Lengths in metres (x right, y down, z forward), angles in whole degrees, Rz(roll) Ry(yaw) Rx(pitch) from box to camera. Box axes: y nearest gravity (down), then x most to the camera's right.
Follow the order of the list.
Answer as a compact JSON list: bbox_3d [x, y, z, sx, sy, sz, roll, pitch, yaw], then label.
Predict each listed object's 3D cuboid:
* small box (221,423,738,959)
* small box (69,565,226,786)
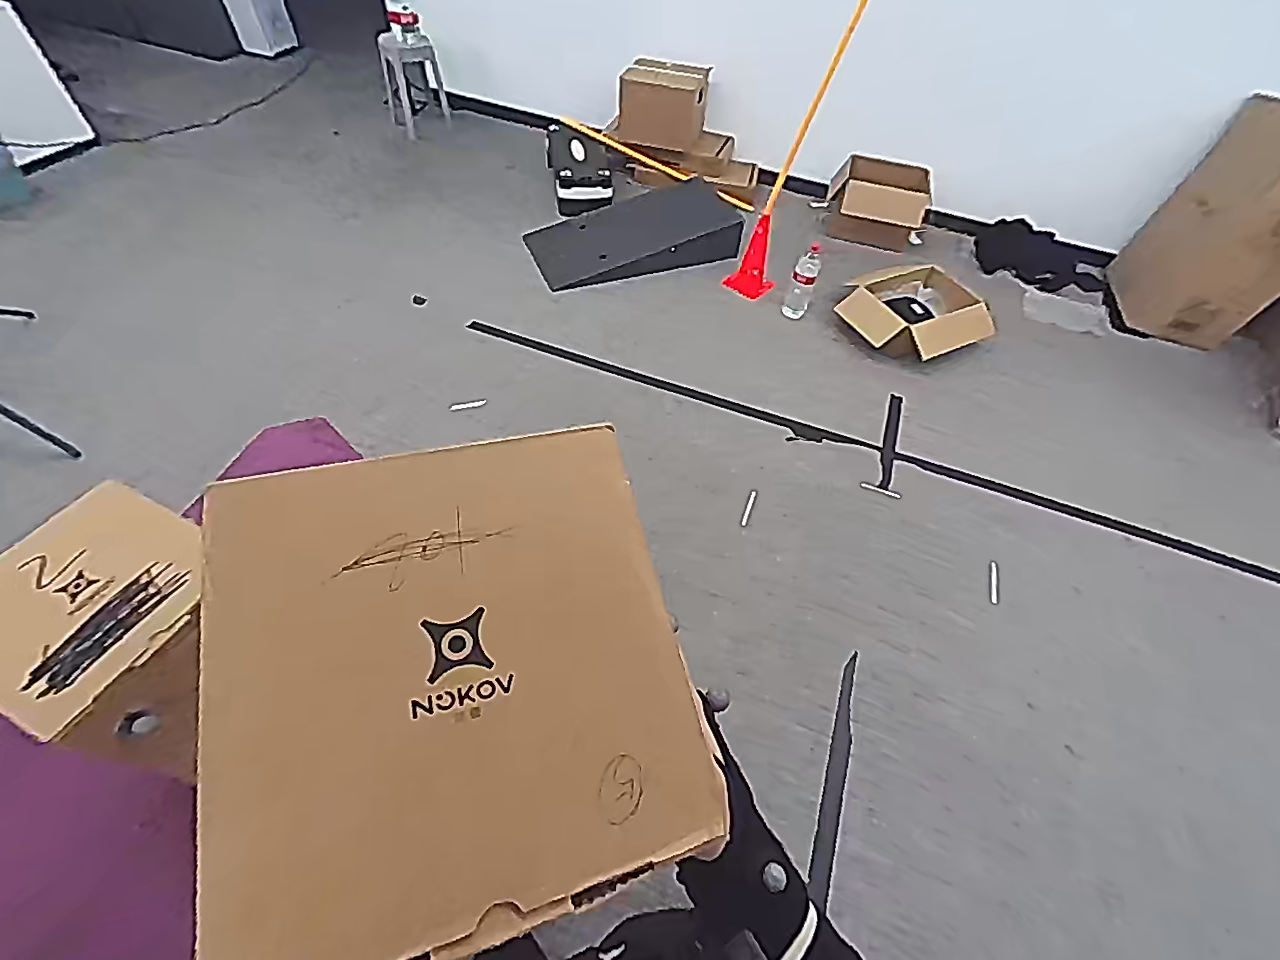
[{"bbox_3d":[-0.077,0.096,0.274,0.168,0.176,0.179,-10,67,-17],"label":"small box"},{"bbox_3d":[-0.460,0.234,0.623,0.179,0.176,0.168,24,55,13],"label":"small box"}]
